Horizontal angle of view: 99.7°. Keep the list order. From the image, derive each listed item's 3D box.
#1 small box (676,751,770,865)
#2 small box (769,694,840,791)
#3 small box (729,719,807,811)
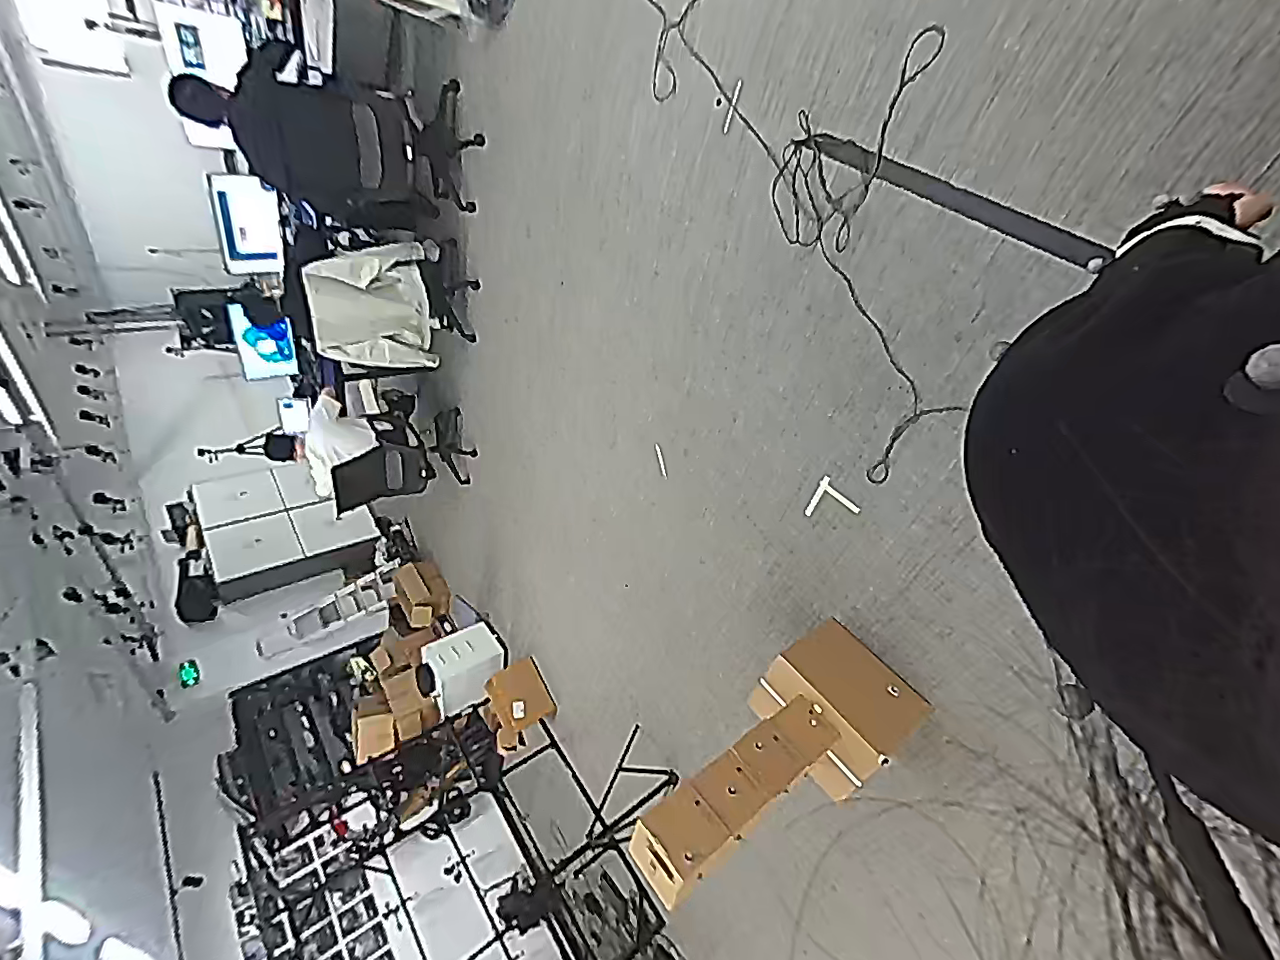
[{"bbox_3d":[0.226,0.876,1.459,0.168,0.176,0.179,40,133,37],"label":"small box"},{"bbox_3d":[0.476,0.797,1.653,0.168,0.176,0.179,44,134,32],"label":"small box"},{"bbox_3d":[0.351,0.830,1.556,0.168,0.176,0.179,43,136,34],"label":"small box"}]
